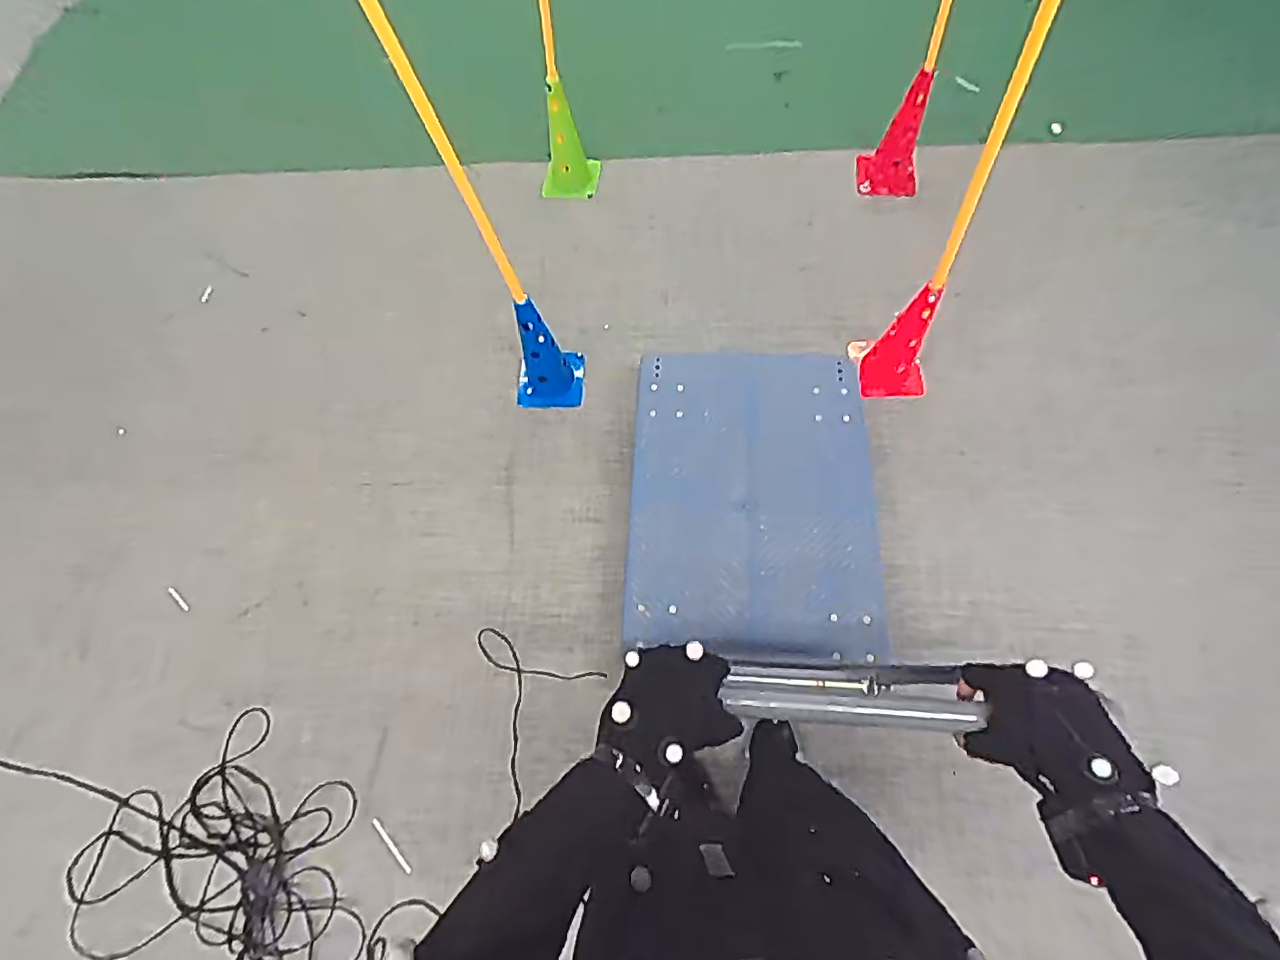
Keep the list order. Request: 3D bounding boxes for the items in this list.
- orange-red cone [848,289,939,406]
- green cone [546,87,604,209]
[{"bbox_3d":[0.724,-0.378,1.475,0.199,0.360,0.198,-1,66,5],"label":"orange-red cone"},{"bbox_3d":[-0.256,-1.165,1.877,0.202,0.368,0.200,4,66,6],"label":"green cone"}]
